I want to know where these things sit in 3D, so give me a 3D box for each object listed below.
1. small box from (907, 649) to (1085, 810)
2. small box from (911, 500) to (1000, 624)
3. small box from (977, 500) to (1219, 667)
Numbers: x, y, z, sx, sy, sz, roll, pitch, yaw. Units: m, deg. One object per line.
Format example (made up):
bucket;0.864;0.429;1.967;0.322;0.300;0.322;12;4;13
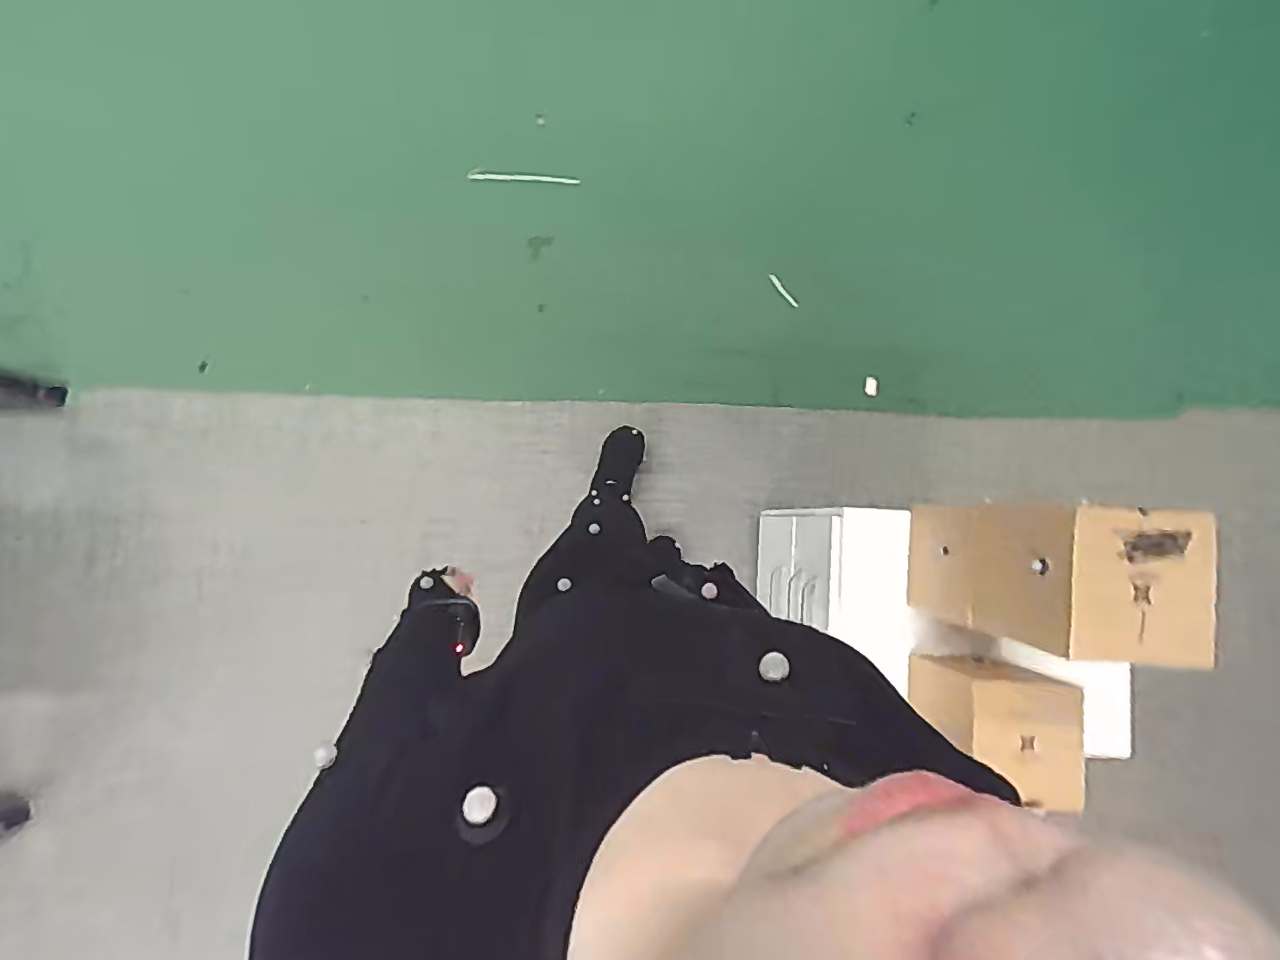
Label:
small box;0.532;0.371;0.830;0.168;0.176;0.179;4;84;-3
small box;0.545;0.125;0.843;0.168;0.176;0.179;4;87;-1
small box;0.555;0.117;0.678;0.168;0.176;0.179;4;89;-2
